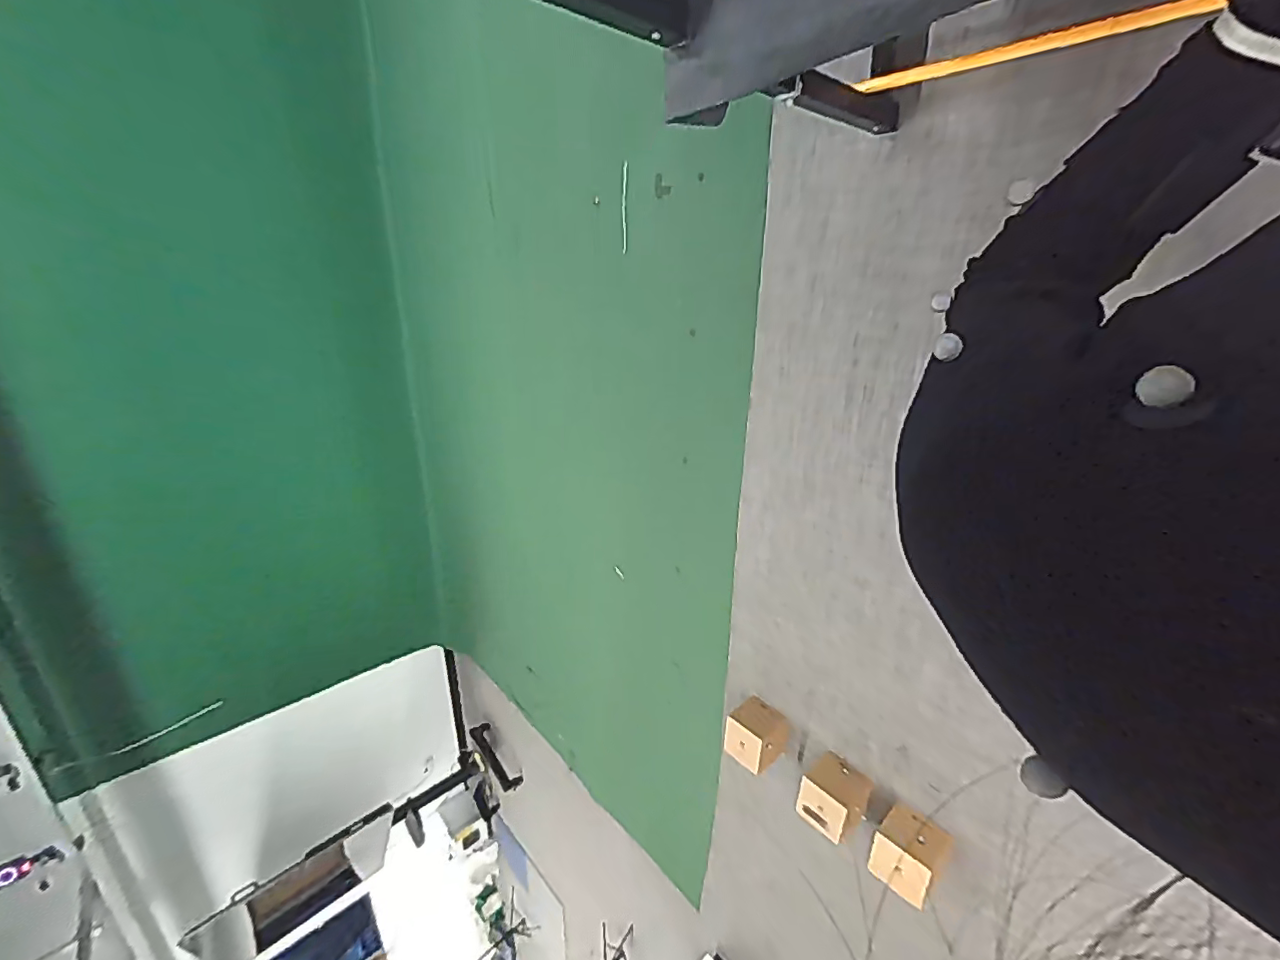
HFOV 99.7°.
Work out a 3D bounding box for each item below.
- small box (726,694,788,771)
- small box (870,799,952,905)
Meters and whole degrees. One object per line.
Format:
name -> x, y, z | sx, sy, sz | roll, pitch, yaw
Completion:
small box -> 0.454, 0.967, 2.087 | 0.168, 0.176, 0.179 | 23, 120, 44
small box -> 0.847, 1.150, 1.687 | 0.168, 0.176, 0.179 | 22, 120, 43
